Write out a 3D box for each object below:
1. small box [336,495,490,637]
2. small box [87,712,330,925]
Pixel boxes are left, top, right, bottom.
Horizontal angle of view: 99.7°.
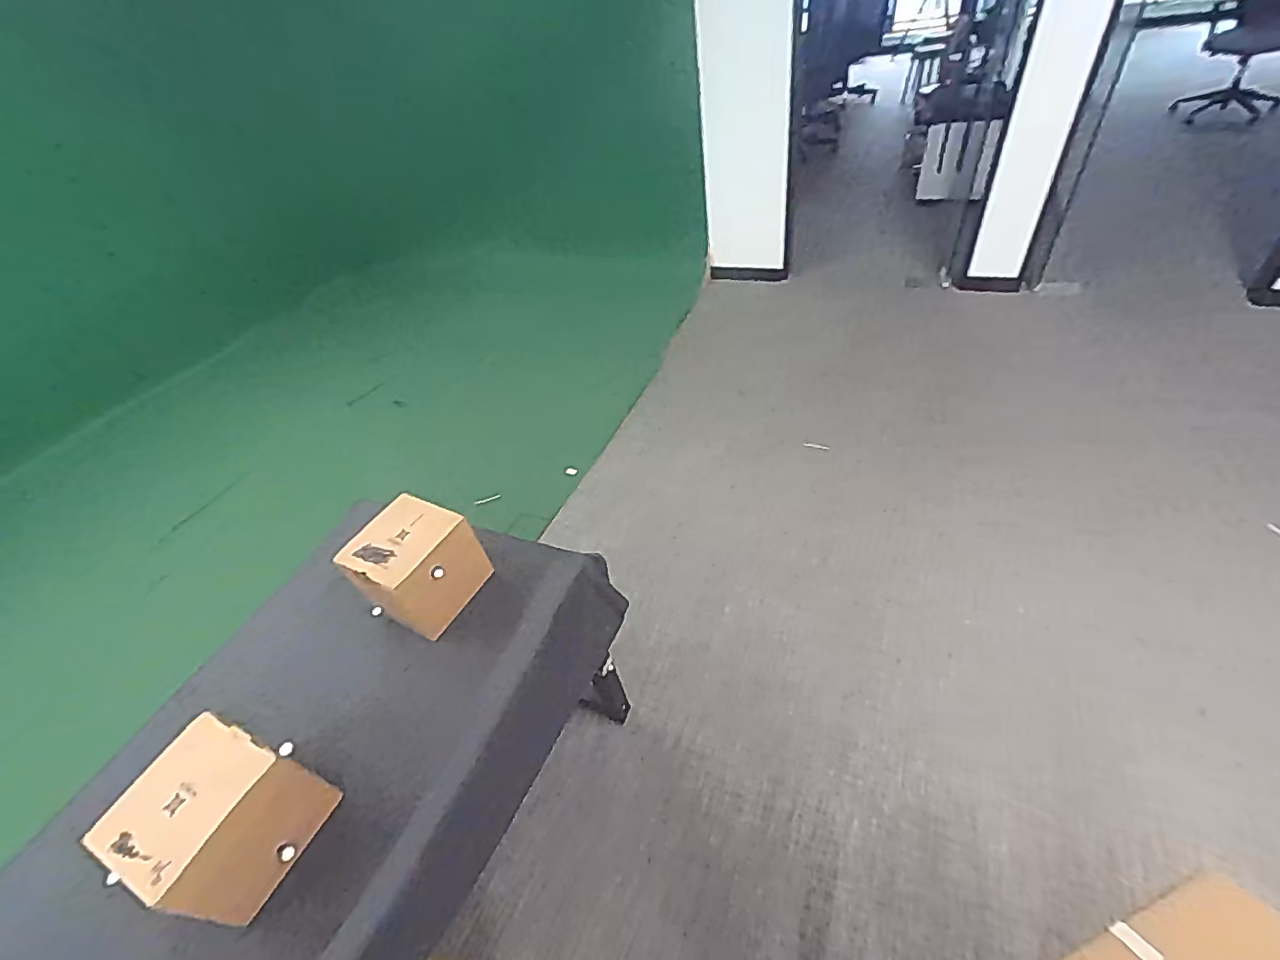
[{"bbox_3d":[-0.413,0.163,1.015,0.168,0.176,0.179,17,50,26],"label":"small box"},{"bbox_3d":[-0.567,0.462,0.744,0.168,0.176,0.179,13,48,24],"label":"small box"}]
